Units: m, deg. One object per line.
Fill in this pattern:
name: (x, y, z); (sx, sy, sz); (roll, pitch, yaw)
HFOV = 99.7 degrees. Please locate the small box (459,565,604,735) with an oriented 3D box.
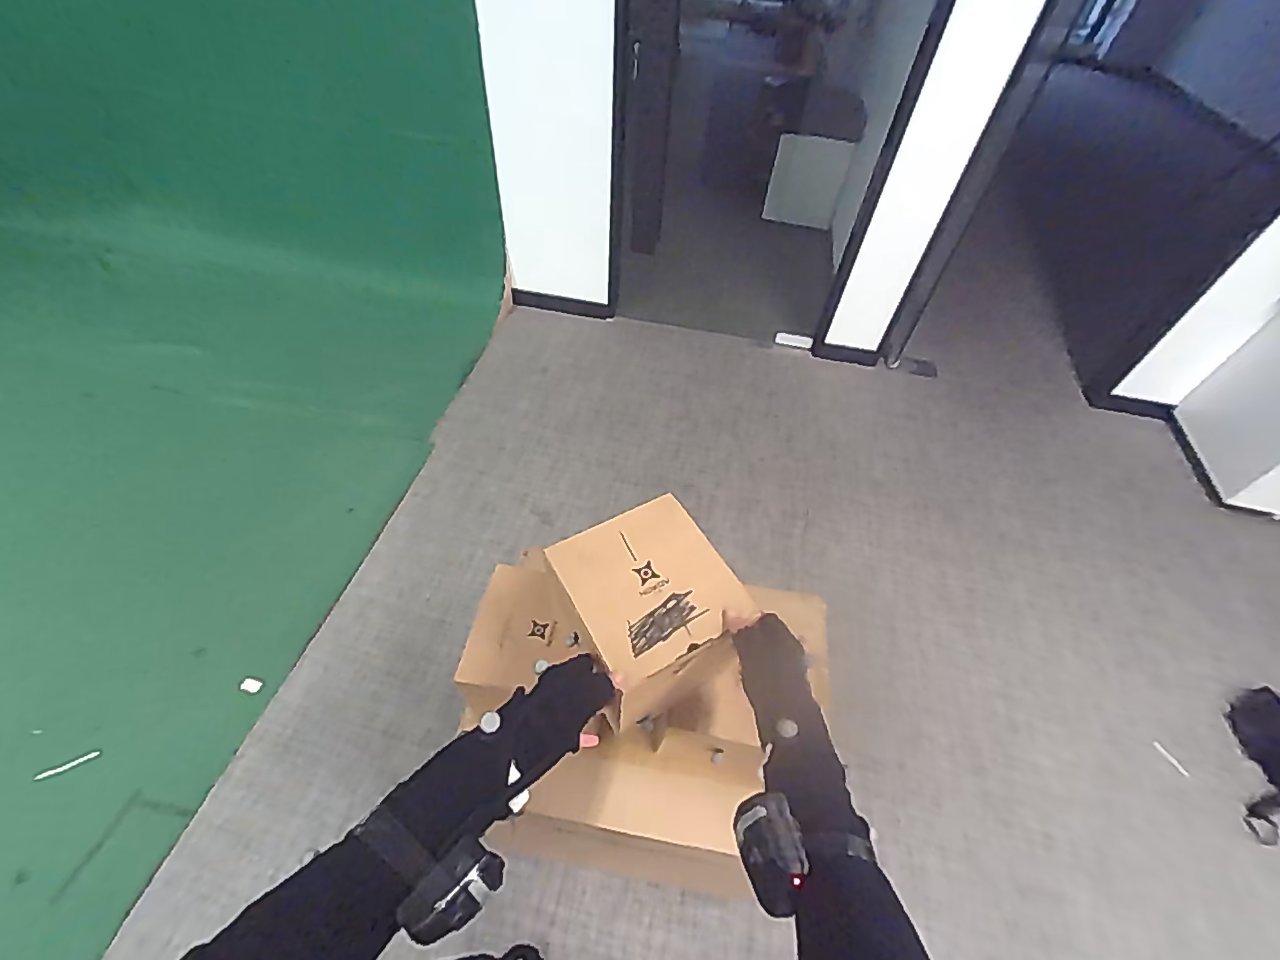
small box: (-0.127, 0.245, 0.761); (0.179, 0.176, 0.168); (9, 51, 3)

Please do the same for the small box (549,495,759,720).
small box: (0.009, 0.155, 0.633); (0.168, 0.176, 0.179); (-23, 56, -21)
